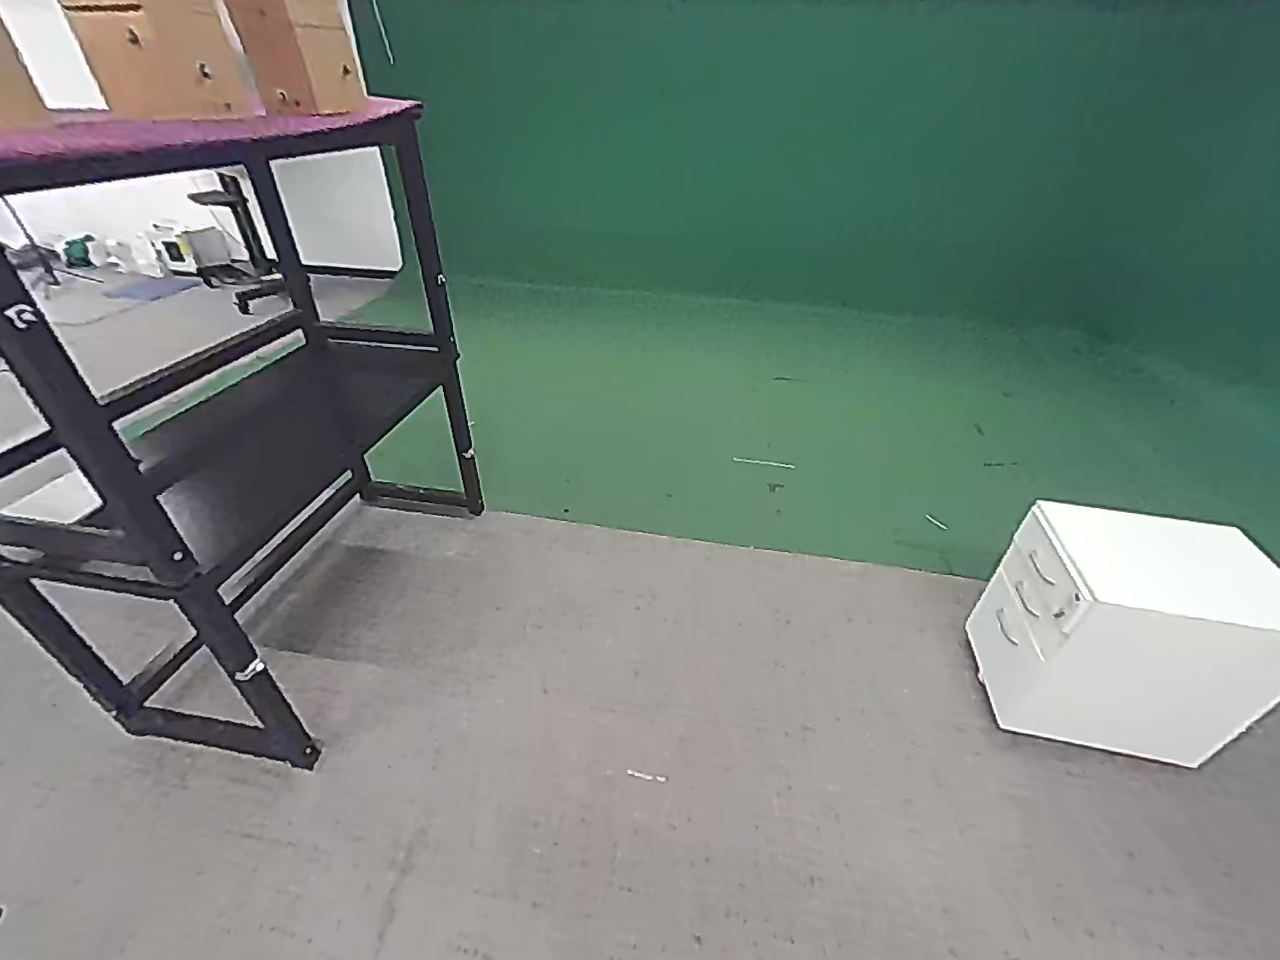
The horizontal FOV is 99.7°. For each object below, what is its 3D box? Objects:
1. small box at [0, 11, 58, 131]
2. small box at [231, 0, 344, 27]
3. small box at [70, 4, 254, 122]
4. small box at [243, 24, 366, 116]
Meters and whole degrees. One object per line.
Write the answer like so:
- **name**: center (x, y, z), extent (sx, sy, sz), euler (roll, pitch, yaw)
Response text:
- **small box**: center (-0.957, -0.559, 0.711), extent (0.168, 0.176, 0.179), euler (5, 36, 3)
- **small box**: center (-0.812, -1.126, 1.221), extent (0.168, 0.176, 0.179), euler (10, 38, 16)
- **small box**: center (-0.904, -0.800, 1.047), extent (0.179, 0.176, 0.168), euler (7, 36, 9)
- **small box**: center (-0.802, -0.996, 1.318), extent (0.168, 0.176, 0.179), euler (8, 39, 14)
